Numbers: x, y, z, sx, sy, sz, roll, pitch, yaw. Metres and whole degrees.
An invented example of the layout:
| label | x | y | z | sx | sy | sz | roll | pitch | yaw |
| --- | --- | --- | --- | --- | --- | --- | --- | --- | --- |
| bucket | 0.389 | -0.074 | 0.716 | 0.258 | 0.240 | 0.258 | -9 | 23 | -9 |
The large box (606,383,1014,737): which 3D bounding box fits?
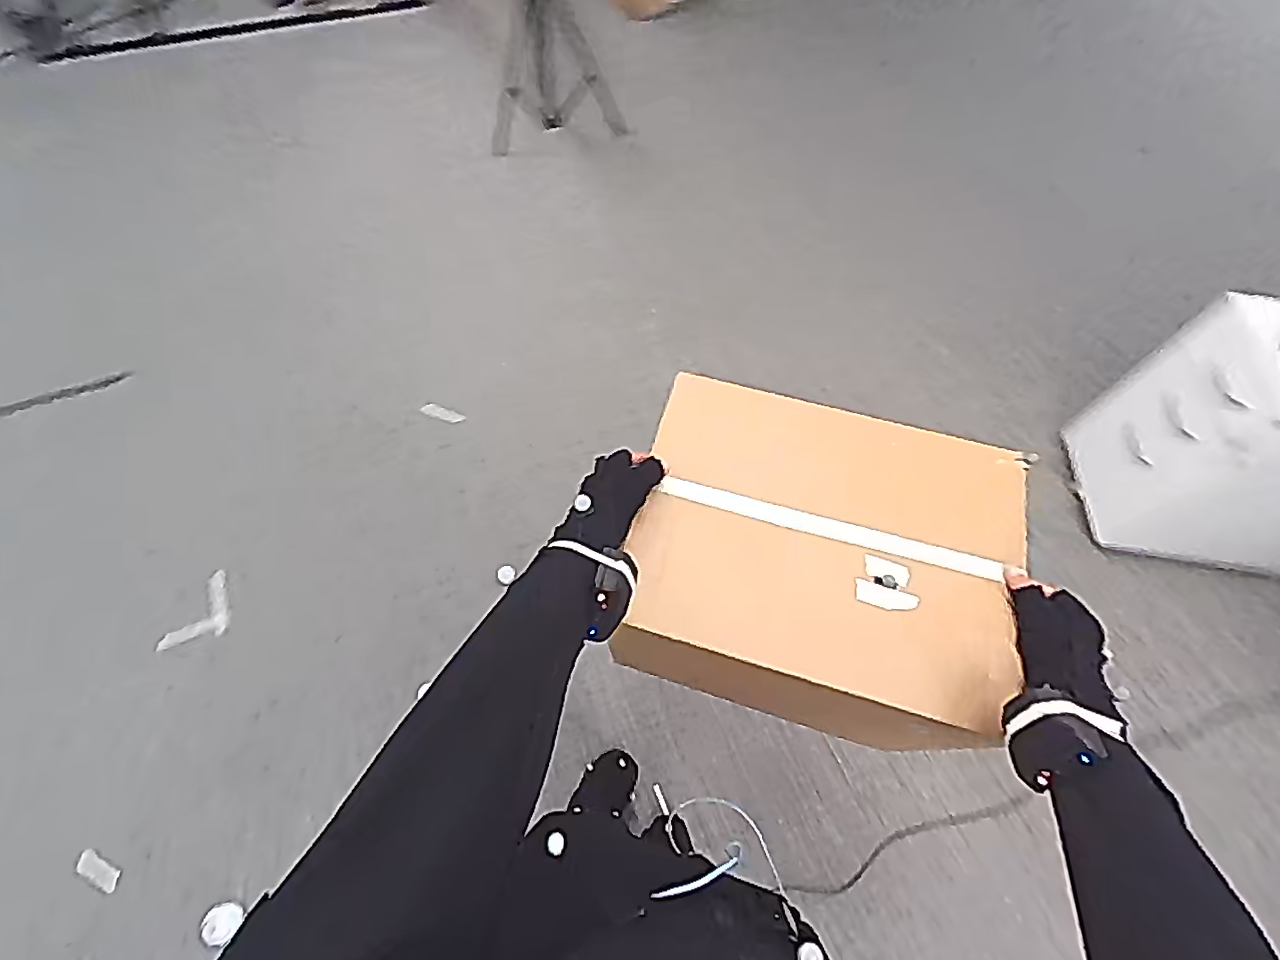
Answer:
| label | x | y | z | sx | sy | sz | roll | pitch | yaw |
| --- | --- | --- | --- | --- | --- | --- | --- | --- | --- |
| large box | 0.193 | 0.120 | 0.718 | 0.408 | 0.320 | 0.320 | 14 | 65 | 8 |
